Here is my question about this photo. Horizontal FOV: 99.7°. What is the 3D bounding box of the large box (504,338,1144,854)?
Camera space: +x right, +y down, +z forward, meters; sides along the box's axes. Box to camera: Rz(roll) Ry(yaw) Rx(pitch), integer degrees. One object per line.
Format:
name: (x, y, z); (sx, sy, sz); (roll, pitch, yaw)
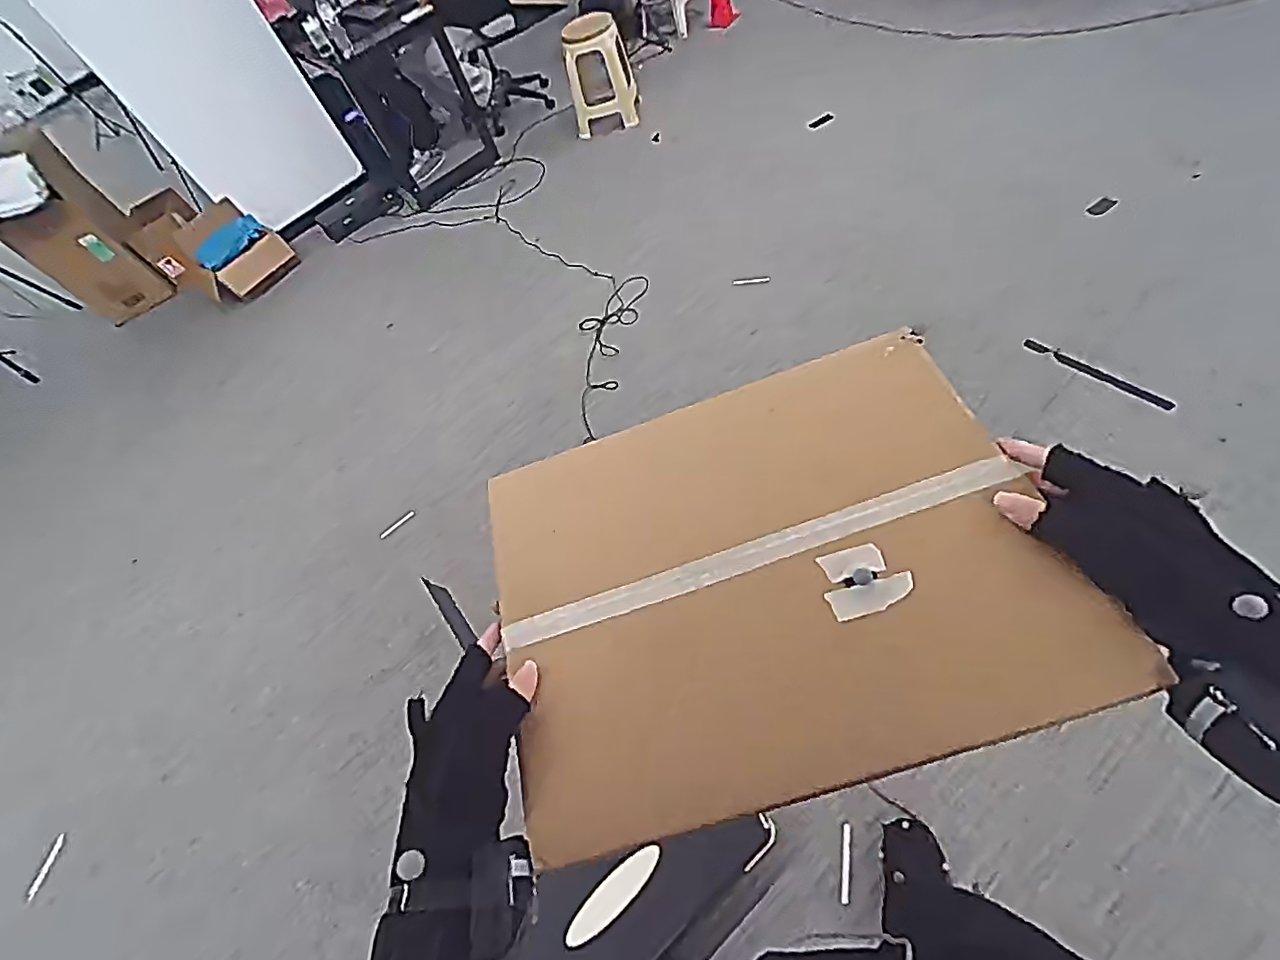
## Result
large box: (0.126, 0.132, 0.550); (0.408, 0.320, 0.320); (-20, 58, 4)
